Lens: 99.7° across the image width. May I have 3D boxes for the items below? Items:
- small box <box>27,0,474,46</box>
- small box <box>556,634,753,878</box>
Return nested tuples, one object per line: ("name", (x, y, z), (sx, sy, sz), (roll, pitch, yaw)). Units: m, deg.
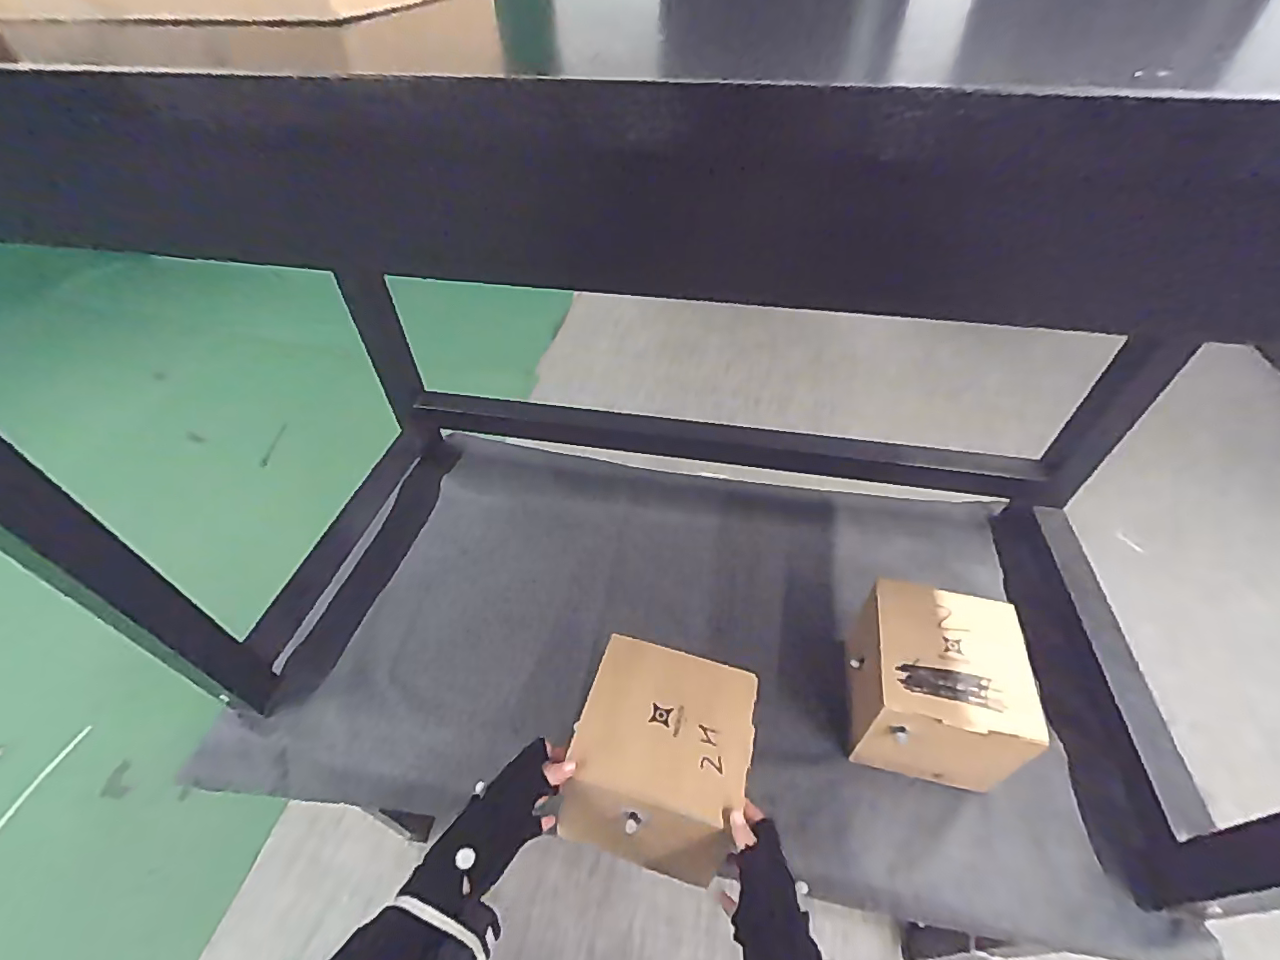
("small box", (-0.187, -0.301, 0.230), (0.168, 0.176, 0.179), (6, 46, 7))
("small box", (0.015, 0.311, 0.610), (0.179, 0.176, 0.168), (15, 39, 9))
